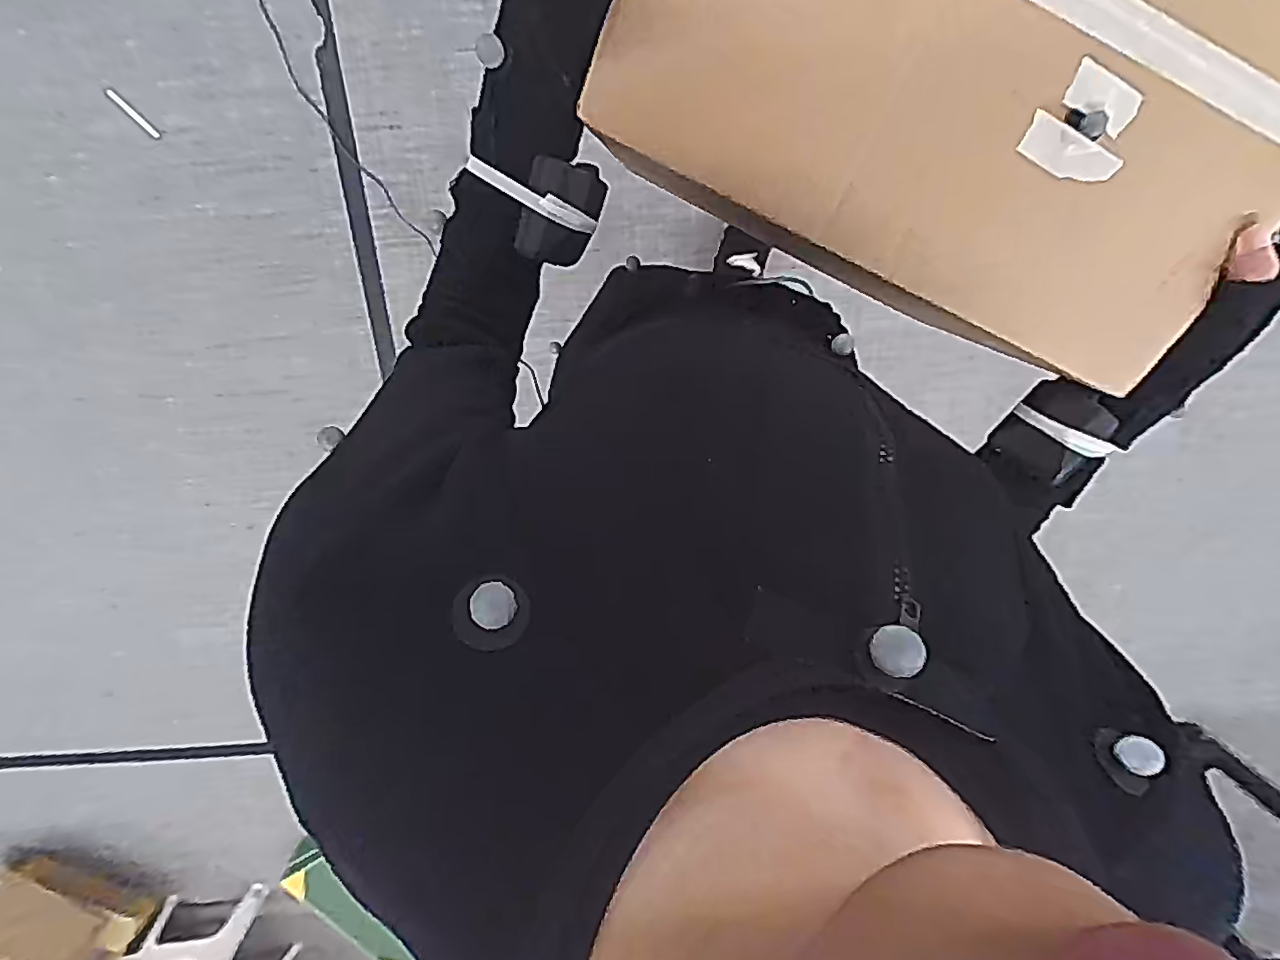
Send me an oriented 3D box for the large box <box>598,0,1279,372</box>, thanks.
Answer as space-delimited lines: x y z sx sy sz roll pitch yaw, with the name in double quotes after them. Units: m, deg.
0.219 -0.337 0.430 0.408 0.320 0.320 24 115 -8 "large box"
